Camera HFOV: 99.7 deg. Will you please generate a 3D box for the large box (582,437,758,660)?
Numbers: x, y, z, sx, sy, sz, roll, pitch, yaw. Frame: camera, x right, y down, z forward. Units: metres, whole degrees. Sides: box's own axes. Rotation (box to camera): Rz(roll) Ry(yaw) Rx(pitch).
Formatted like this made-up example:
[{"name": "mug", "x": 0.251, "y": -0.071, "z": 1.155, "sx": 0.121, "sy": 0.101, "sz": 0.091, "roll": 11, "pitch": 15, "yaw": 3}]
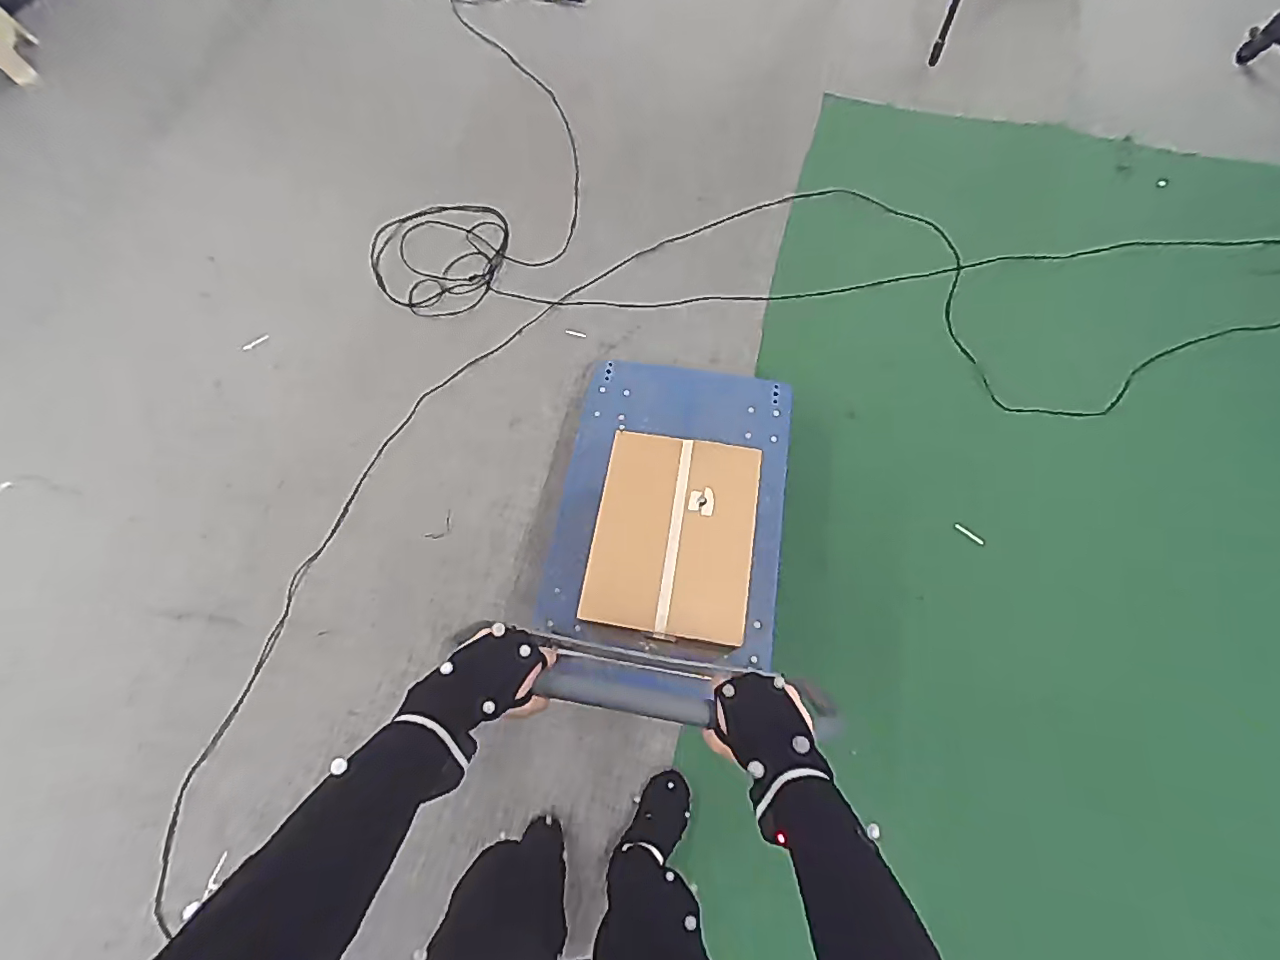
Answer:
[{"name": "large box", "x": 0.073, "y": 0.165, "z": 1.212, "sx": 0.320, "sy": 0.320, "sz": 0.408, "roll": 9, "pitch": 67, "yaw": 4}]
